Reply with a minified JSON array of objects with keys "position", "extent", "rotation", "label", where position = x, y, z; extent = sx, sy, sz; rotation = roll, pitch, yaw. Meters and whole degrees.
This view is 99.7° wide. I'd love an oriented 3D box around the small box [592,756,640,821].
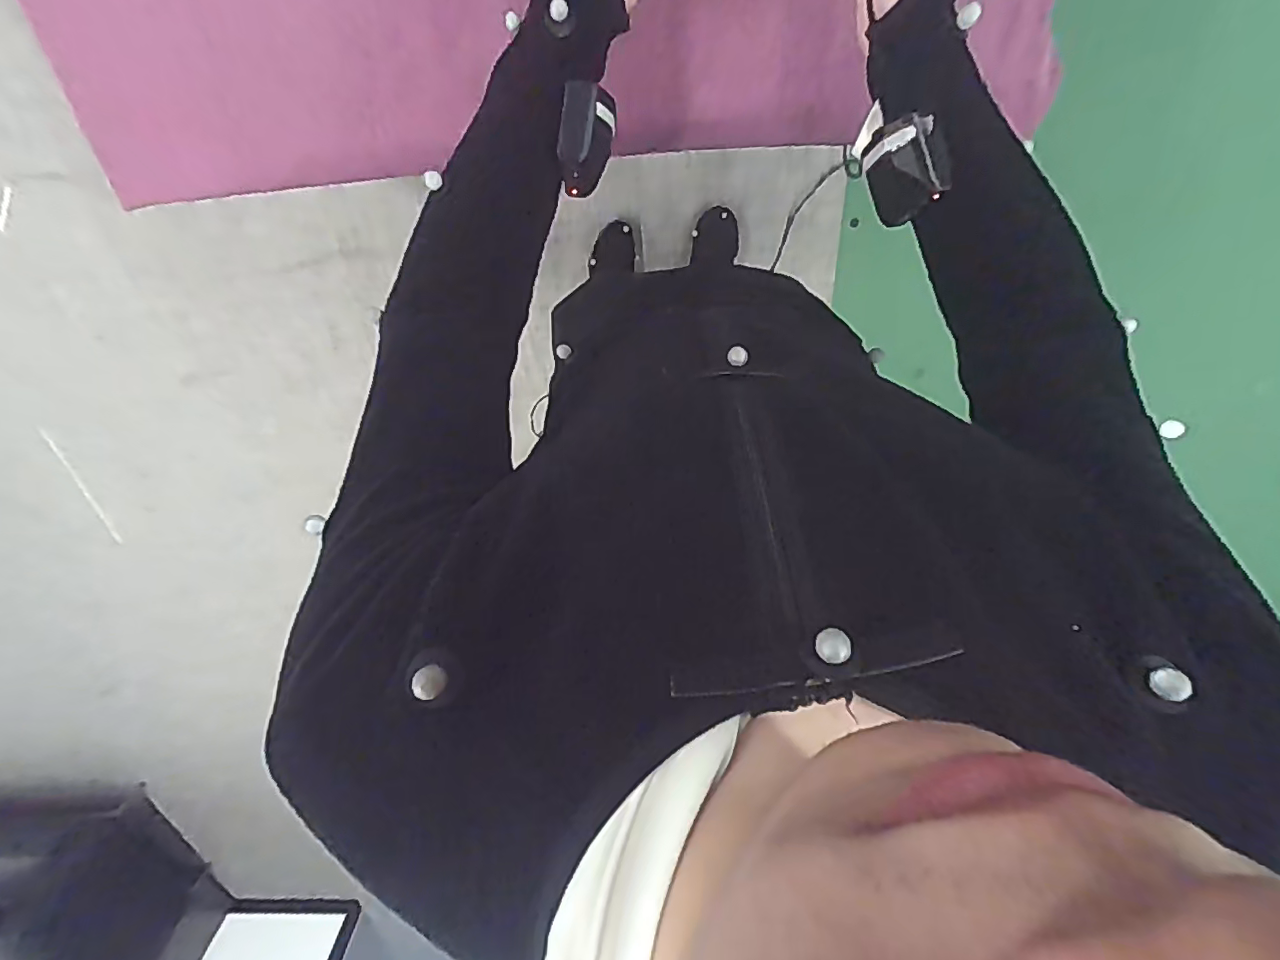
[{"position":[-0.097,1.245,2.191],"extent":[0.179,0.176,0.168],"rotation":[5,120,-1],"label":"small box"}]
